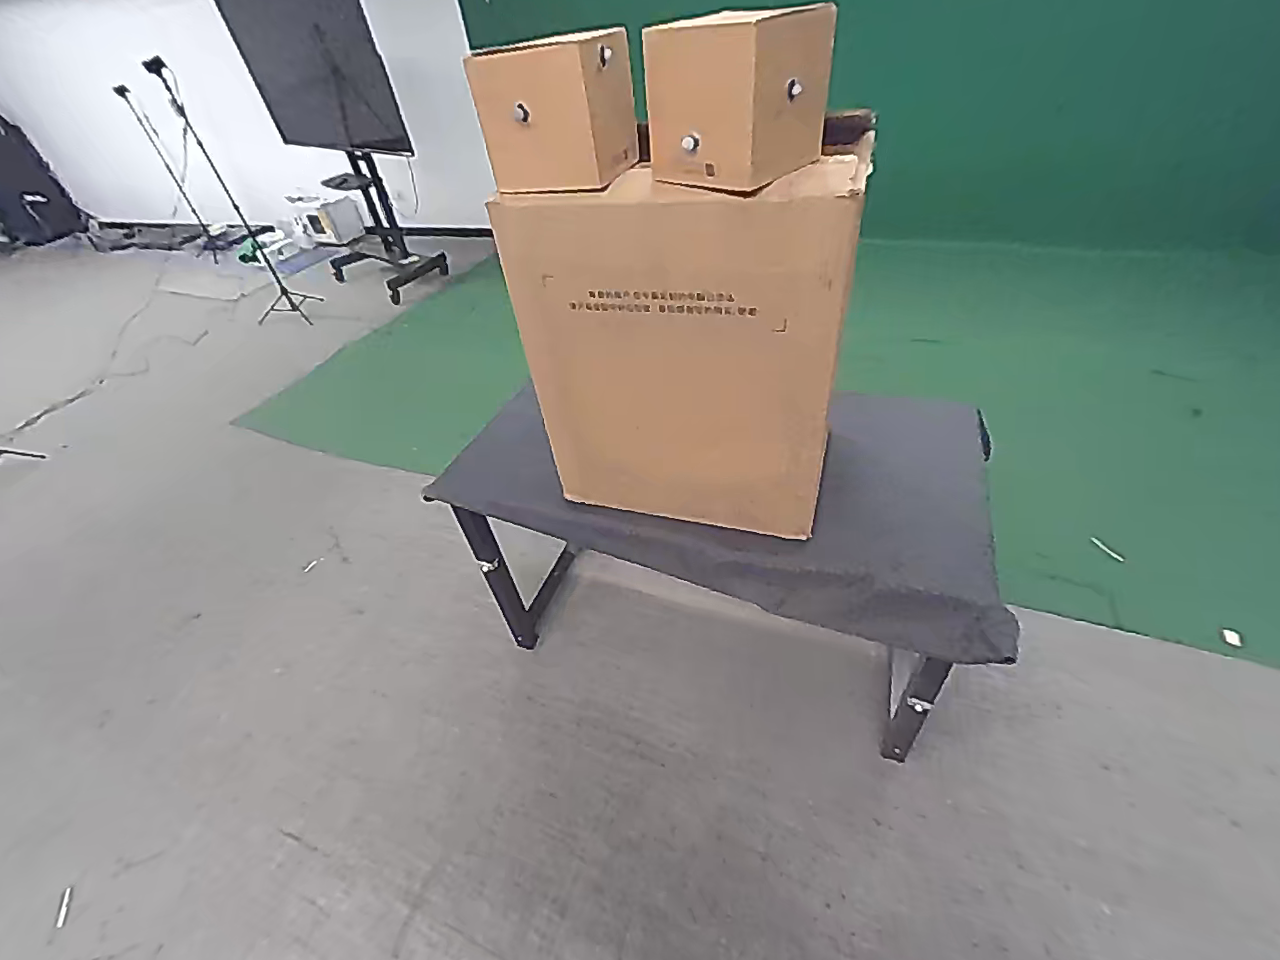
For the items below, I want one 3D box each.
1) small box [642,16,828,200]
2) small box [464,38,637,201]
[{"bbox_3d":[0.123,-0.492,0.717,0.168,0.176,0.179,28,54,34],"label":"small box"},{"bbox_3d":[-0.120,-0.528,0.802,0.179,0.176,0.168,7,44,20],"label":"small box"}]
